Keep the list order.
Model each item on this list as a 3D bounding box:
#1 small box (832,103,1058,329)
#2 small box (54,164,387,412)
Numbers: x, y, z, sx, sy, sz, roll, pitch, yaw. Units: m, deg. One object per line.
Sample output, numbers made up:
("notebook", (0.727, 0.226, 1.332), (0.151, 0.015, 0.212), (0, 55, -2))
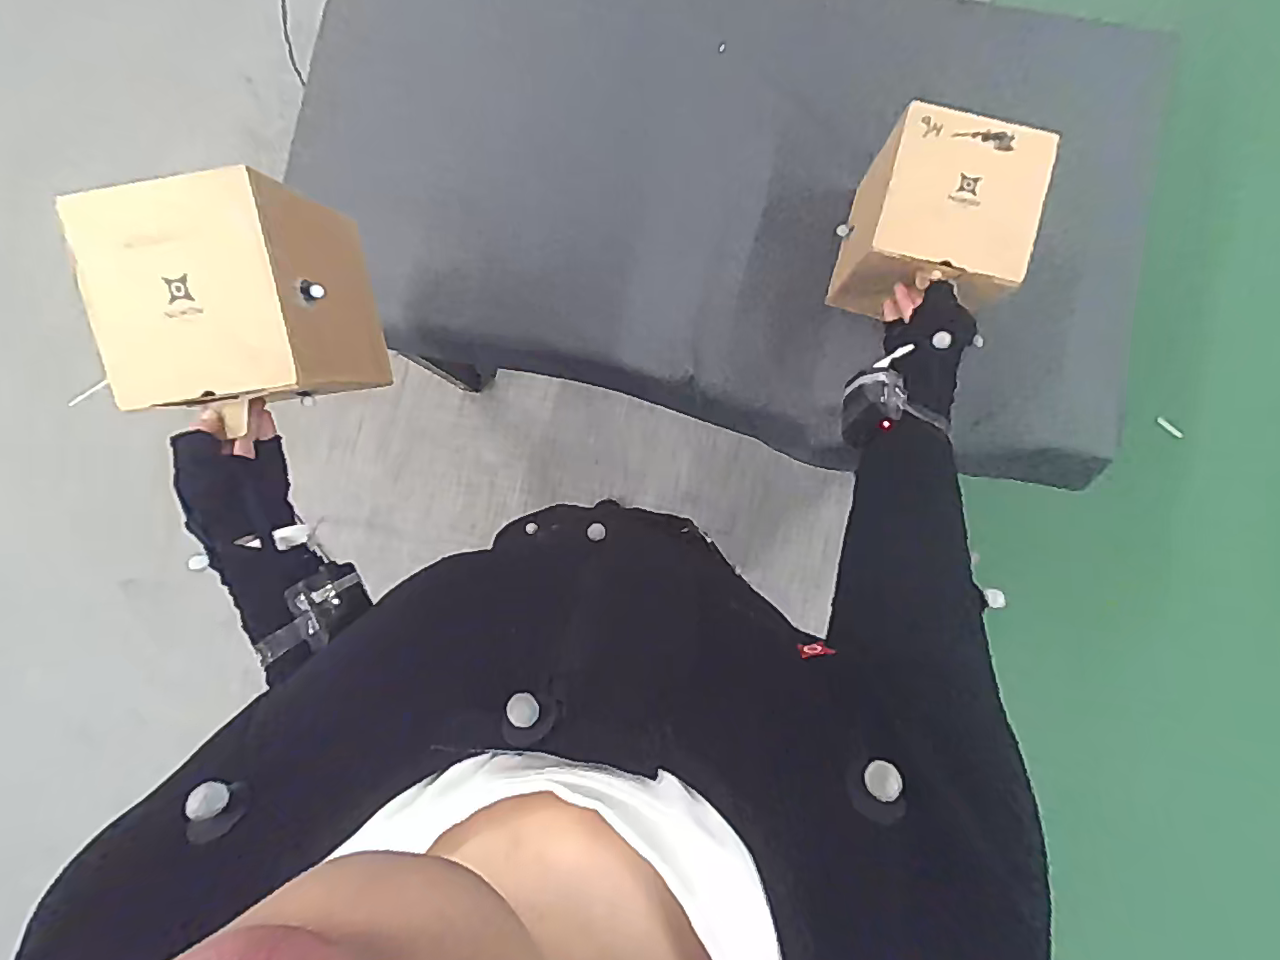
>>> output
("small box", (0.354, -0.306, 0.666), (0.168, 0.176, 0.179), (16, 89, 3))
("small box", (-0.371, -0.167, 0.518), (0.168, 0.176, 0.179), (-8, 100, 3))
